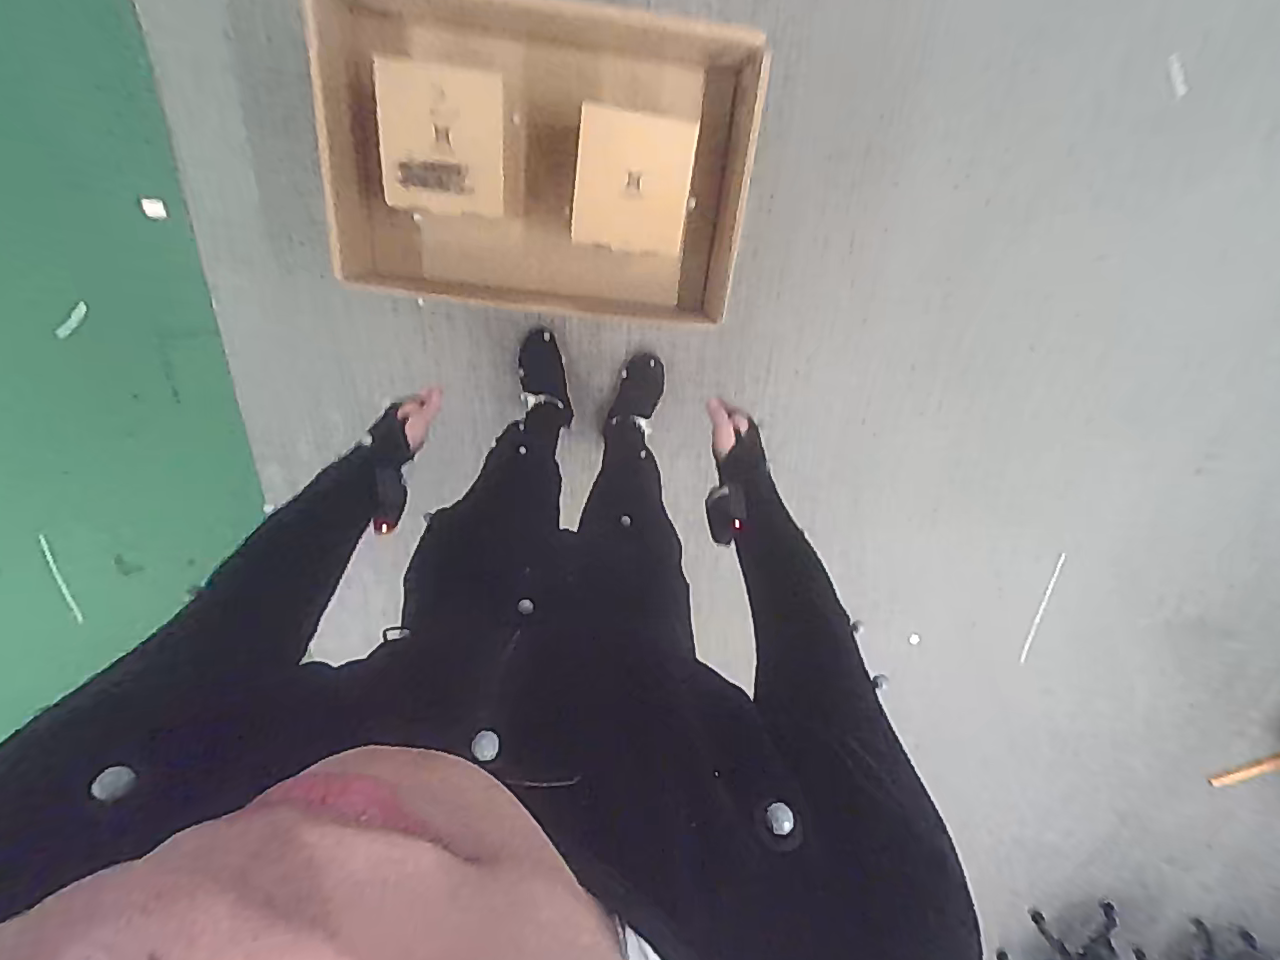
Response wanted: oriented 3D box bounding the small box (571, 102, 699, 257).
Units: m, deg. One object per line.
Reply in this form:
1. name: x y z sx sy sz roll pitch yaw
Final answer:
1. small box: -0.016 -0.454 0.840 0.168 0.176 0.179 6 115 -6
